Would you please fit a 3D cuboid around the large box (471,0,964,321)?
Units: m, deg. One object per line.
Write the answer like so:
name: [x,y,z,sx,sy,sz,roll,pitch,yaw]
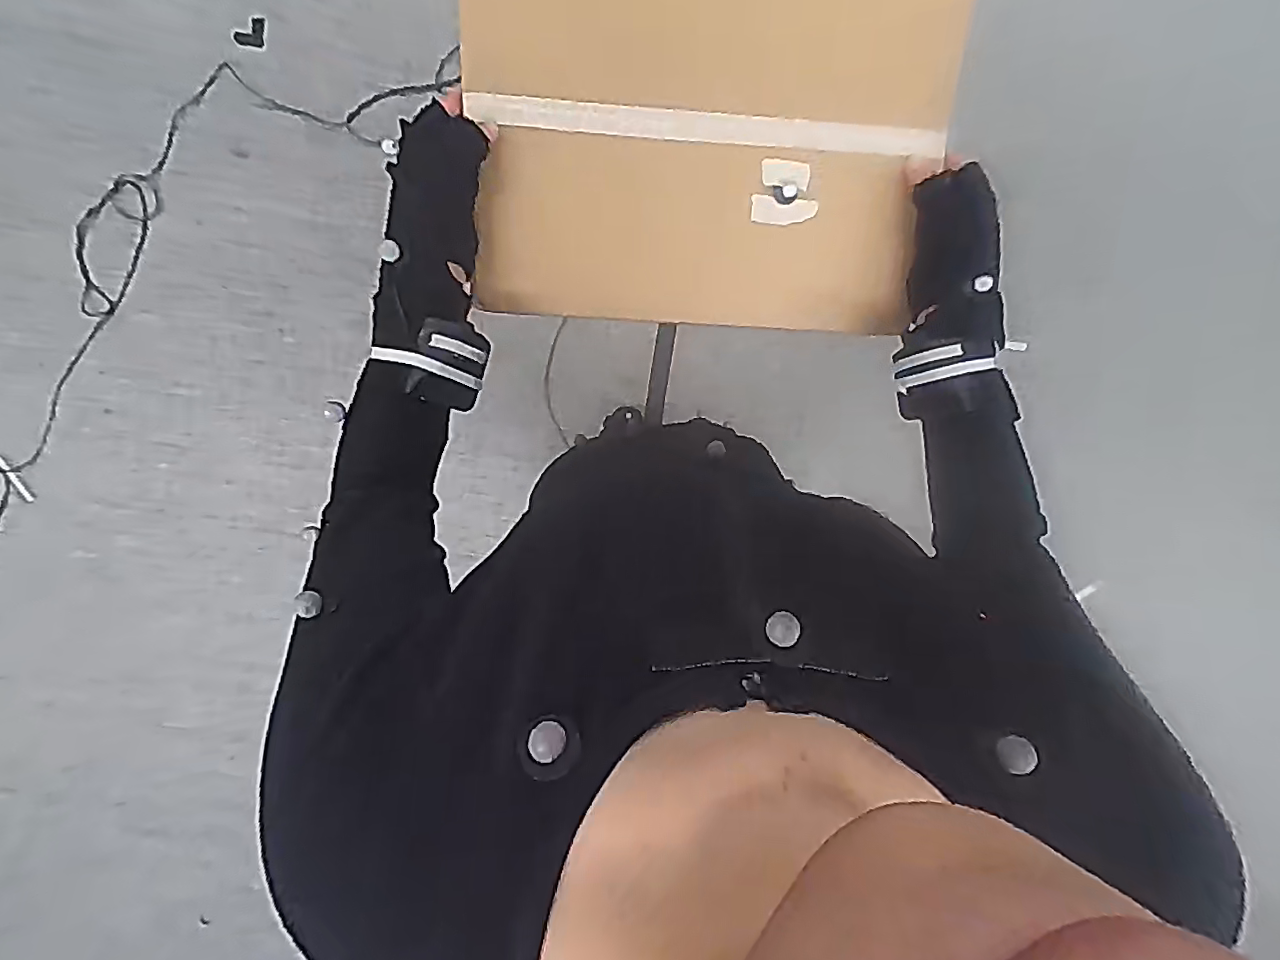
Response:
large box: [0.051,-0.344,0.597,0.408,0.320,0.320,1,108,-5]
